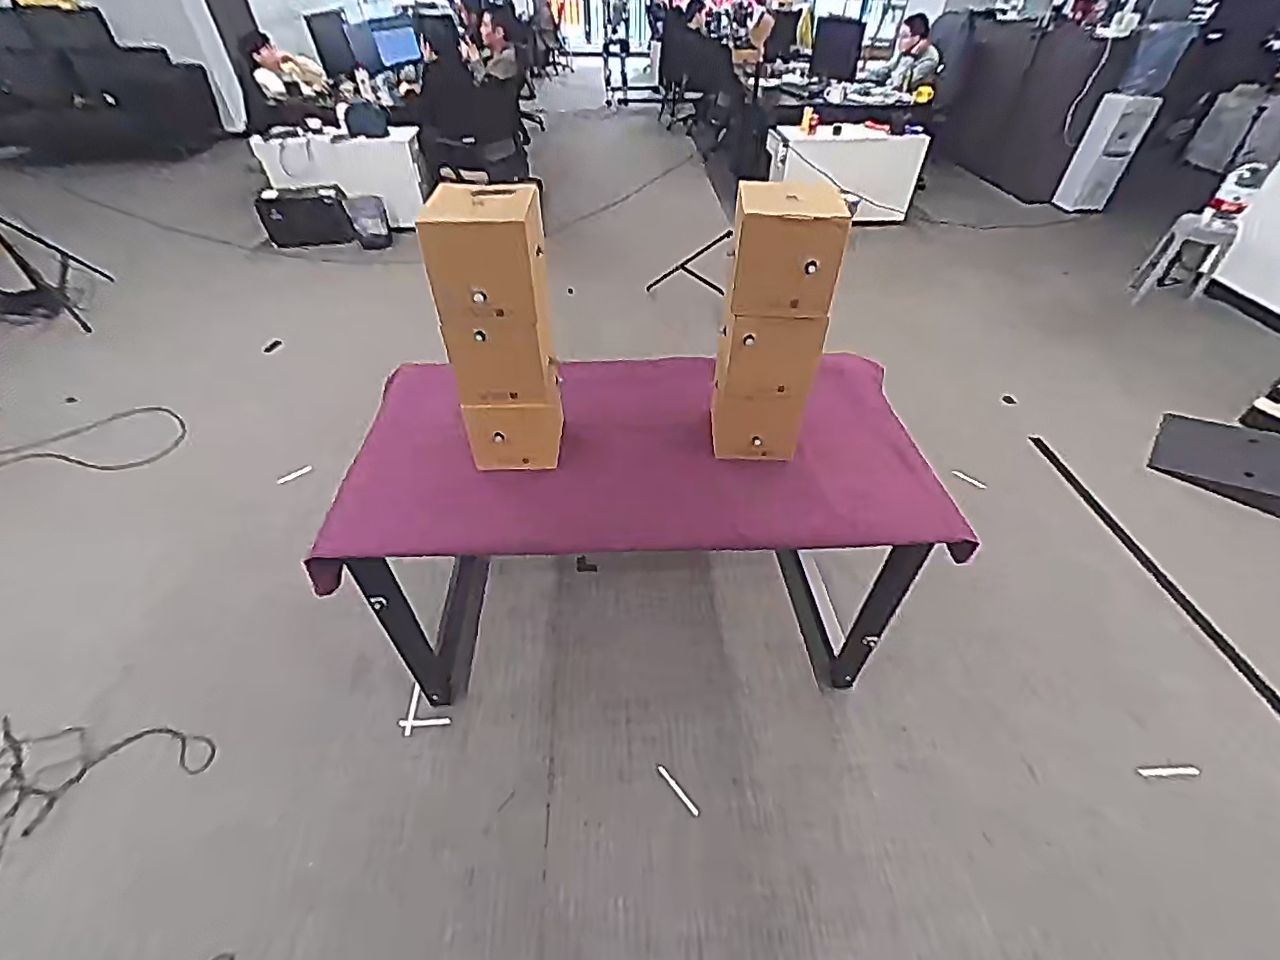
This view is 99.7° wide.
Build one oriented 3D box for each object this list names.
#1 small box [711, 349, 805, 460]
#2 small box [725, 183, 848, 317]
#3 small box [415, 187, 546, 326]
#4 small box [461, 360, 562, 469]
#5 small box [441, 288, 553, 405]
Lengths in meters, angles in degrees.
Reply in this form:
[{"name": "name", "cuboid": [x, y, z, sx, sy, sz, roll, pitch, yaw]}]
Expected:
[{"name": "small box", "cuboid": [0.243, -0.163, 1.162, 0.168, 0.176, 0.179, 1, 44, 2]}, {"name": "small box", "cuboid": [0.240, -0.395, 0.932, 0.168, 0.176, 0.179, 4, 43, 2]}, {"name": "small box", "cuboid": [-0.254, -0.377, 0.910, 0.168, 0.176, 0.179, -1, 44, -1]}, {"name": "small box", "cuboid": [-0.259, -0.136, 1.134, 0.168, 0.176, 0.179, -1, 43, -1]}, {"name": "small box", "cuboid": [-0.259, -0.259, 1.025, 0.168, 0.176, 0.179, -2, 43, -2]}]
